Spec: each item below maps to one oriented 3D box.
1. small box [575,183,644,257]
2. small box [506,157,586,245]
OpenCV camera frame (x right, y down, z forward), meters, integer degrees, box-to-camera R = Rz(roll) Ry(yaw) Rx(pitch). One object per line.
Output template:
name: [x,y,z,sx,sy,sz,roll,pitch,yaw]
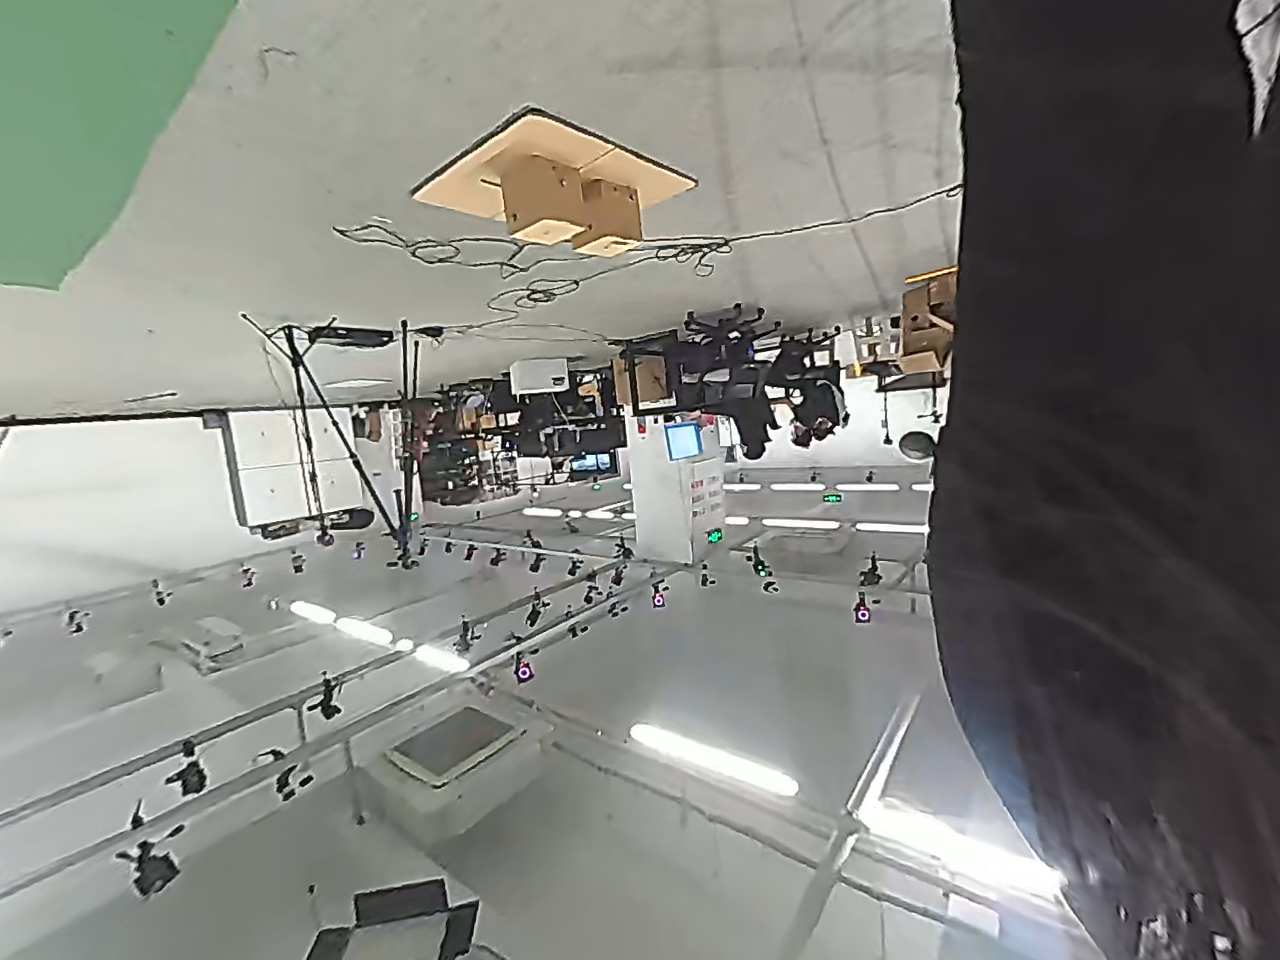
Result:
small box: [-0.112,-0.857,1.787,0.168,0.176,0.179,-12,-170,-44]
small box: [-0.282,-0.822,1.605,0.179,0.176,0.168,0,-170,41]
